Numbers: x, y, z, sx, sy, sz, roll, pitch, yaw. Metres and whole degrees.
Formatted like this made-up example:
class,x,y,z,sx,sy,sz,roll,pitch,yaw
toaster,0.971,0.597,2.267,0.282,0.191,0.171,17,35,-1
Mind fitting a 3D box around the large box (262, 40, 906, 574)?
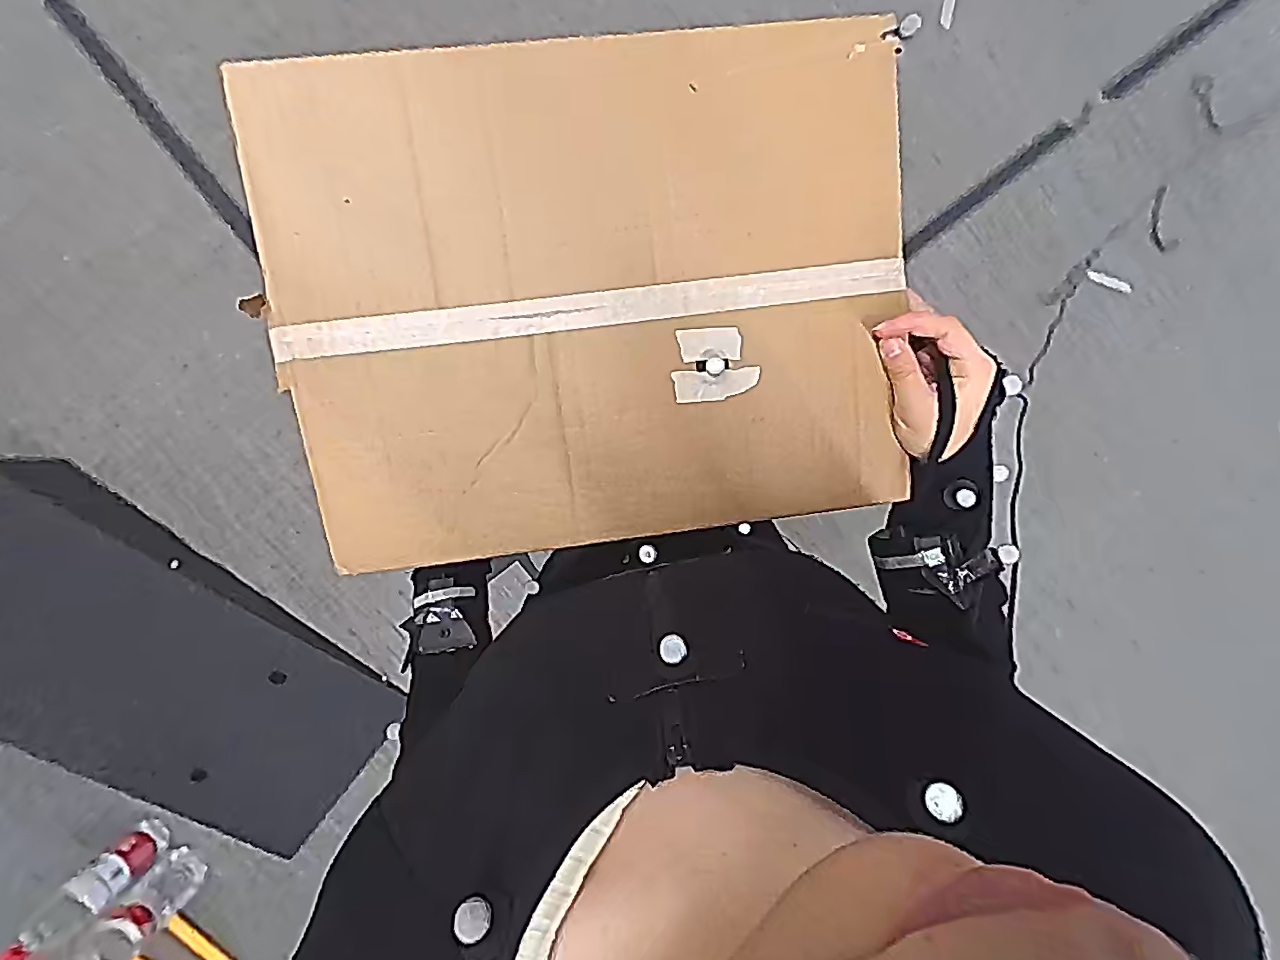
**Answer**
class,x,y,z,sx,sy,sz,roll,pitch,yaw
large box,-0.031,-0.134,0.508,0.408,0.320,0.320,-7,101,-5
